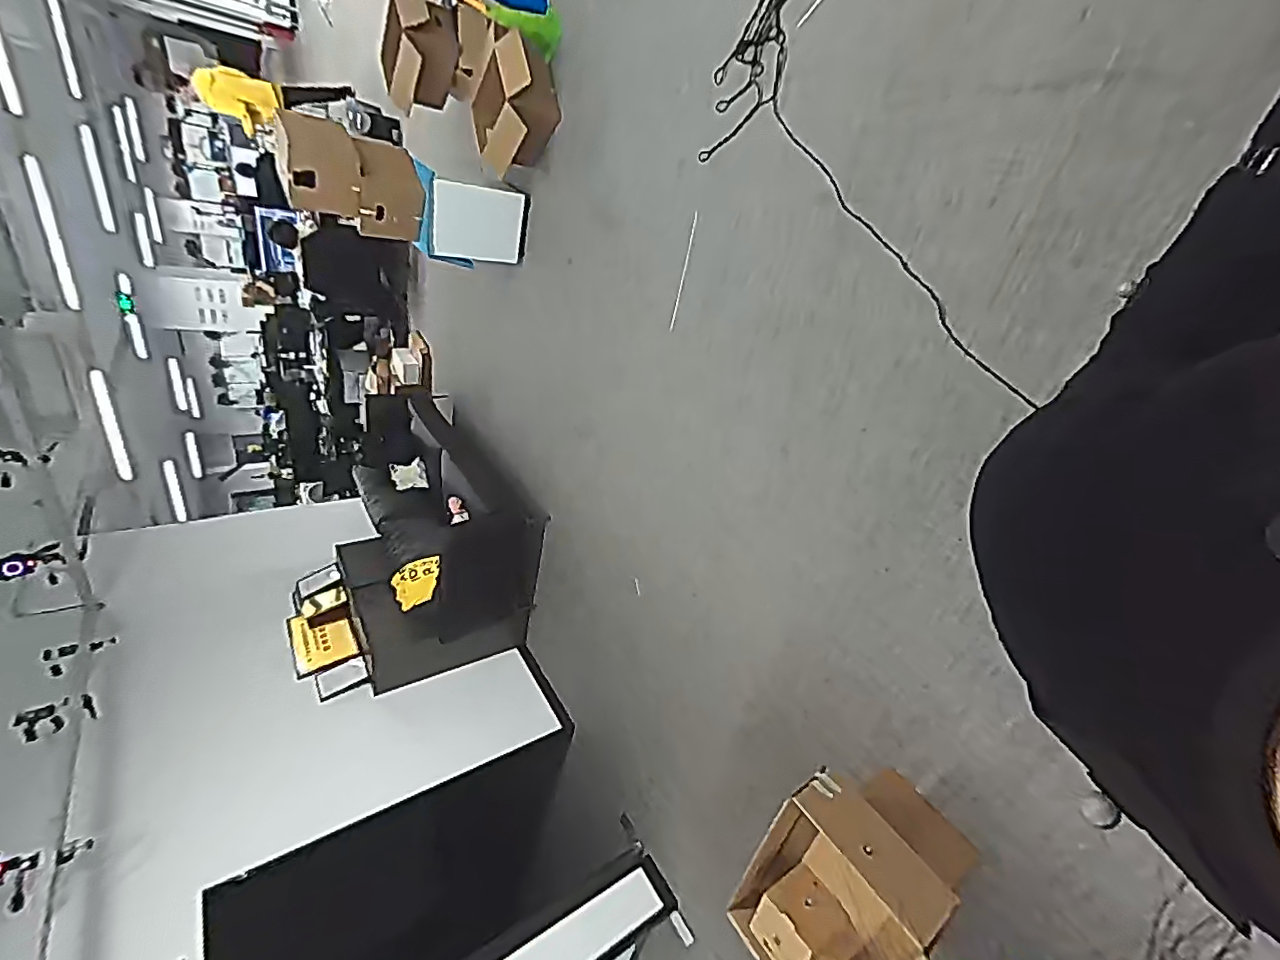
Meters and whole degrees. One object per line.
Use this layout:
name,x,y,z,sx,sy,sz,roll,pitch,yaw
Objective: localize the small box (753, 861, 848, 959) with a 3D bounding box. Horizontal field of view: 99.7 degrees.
small box,0.448,1.216,1.503,0.168,0.176,0.179,37,124,45
